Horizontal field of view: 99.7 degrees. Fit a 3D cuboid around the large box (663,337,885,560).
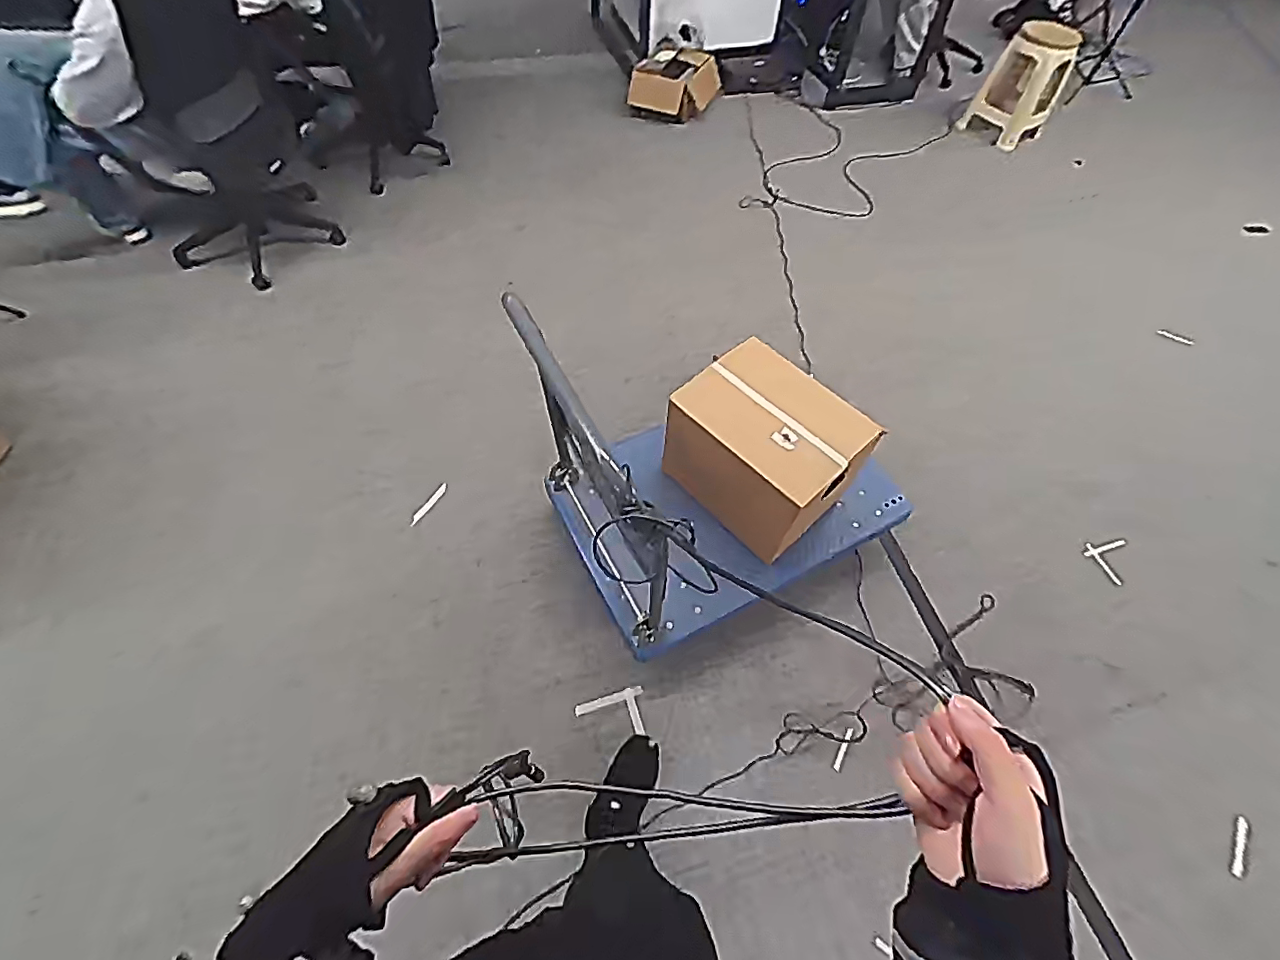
[{"bbox_3d":[0.310,-0.078,1.373,0.320,0.320,0.408,-38,68,-21],"label":"large box"}]
